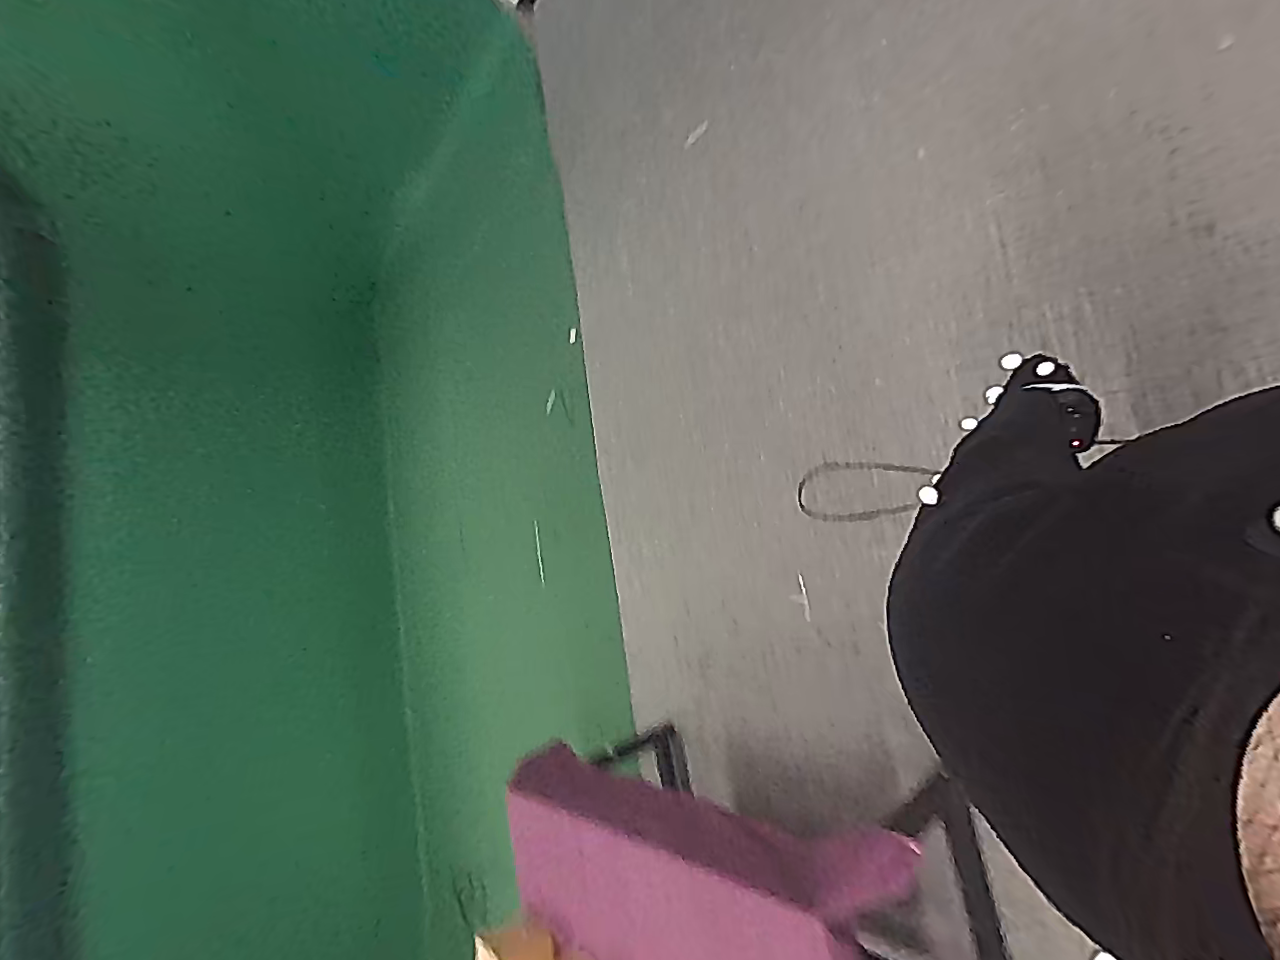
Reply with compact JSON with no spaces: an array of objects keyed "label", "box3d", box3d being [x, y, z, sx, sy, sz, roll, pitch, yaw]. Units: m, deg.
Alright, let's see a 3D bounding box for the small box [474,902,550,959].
[{"label":"small box","box3d":[-0.379,1.421,1.614,0.168,0.176,0.179,-15,77,47]}]
